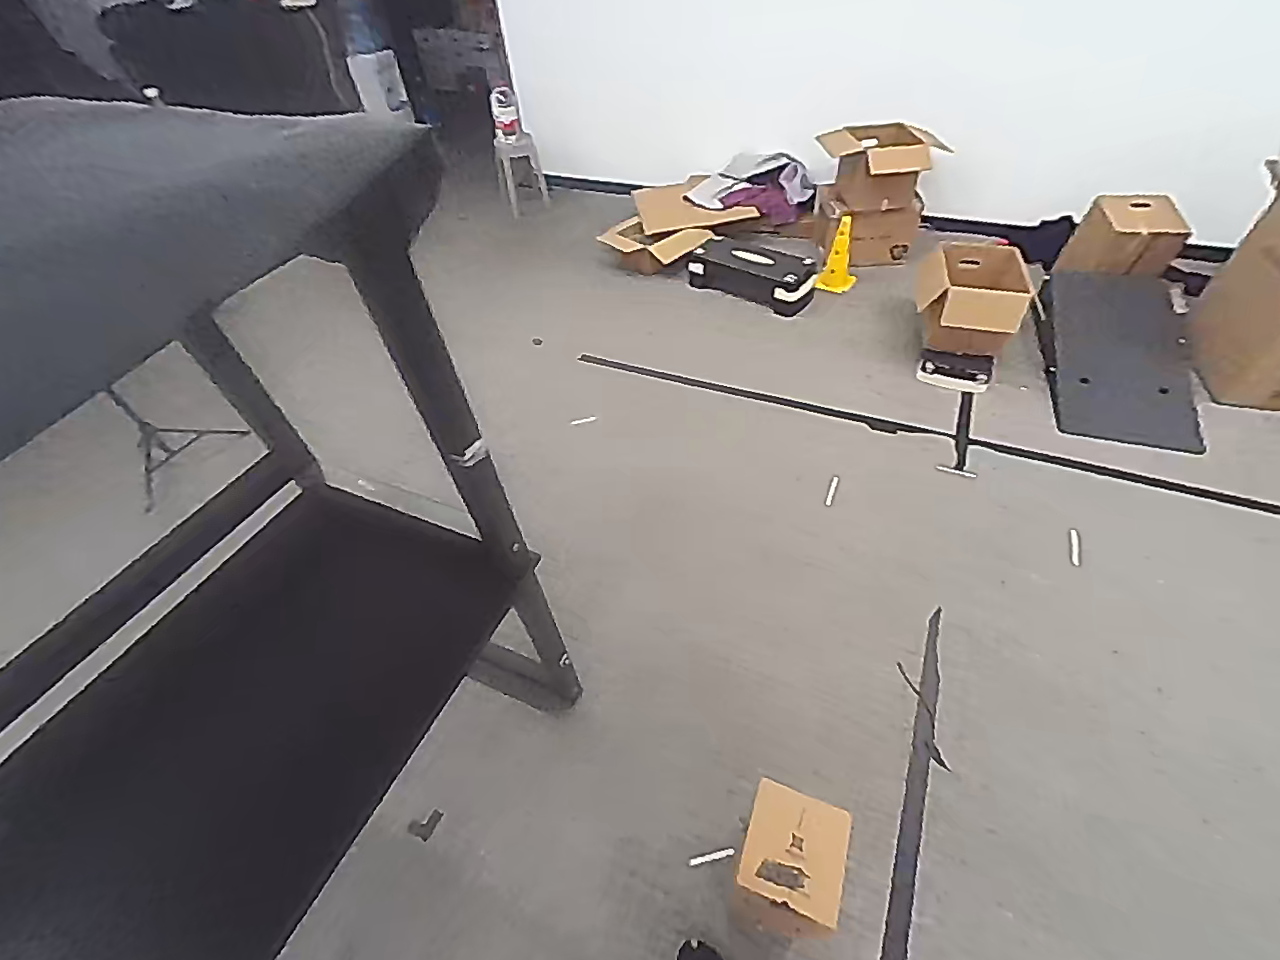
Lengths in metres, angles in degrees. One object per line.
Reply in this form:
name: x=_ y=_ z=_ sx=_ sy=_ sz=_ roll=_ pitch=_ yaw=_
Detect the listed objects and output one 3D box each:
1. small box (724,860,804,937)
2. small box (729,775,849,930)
small box: x=0.295 y=0.896 z=1.230 sx=0.168 sy=0.176 sz=0.179 roll=16 pitch=52 yaw=18
small box: x=0.265 y=0.680 z=0.983 sx=0.168 sy=0.176 sz=0.179 roll=16 pitch=51 yaw=17
